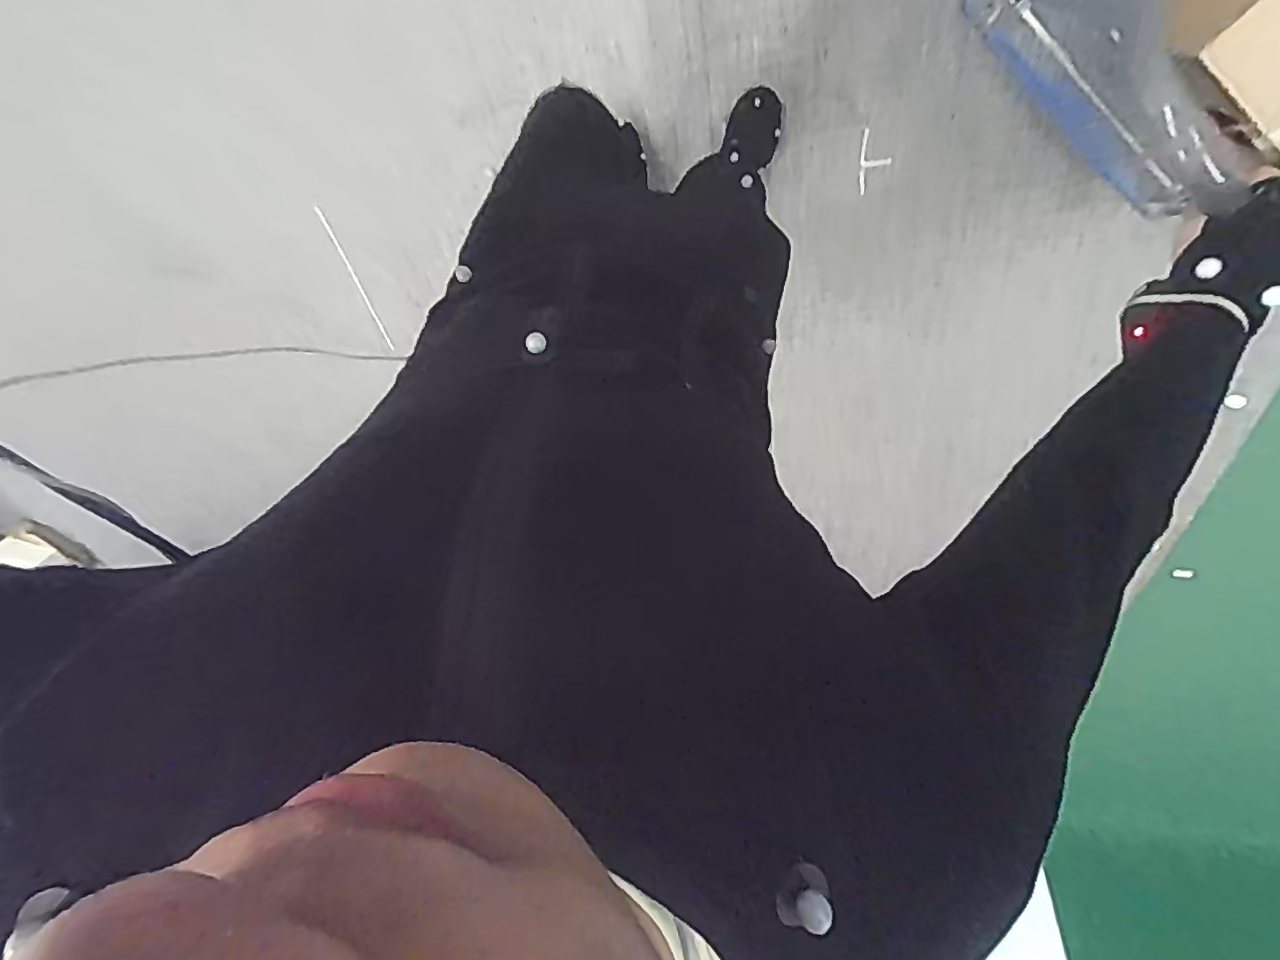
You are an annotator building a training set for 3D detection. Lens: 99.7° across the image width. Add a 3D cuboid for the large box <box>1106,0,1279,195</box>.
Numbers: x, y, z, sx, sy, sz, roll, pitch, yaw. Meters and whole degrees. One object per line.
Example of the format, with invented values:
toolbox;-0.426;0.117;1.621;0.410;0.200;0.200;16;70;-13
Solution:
large box;0.954;-0.644;0.688;0.320;0.320;0.408;33;132;-14
